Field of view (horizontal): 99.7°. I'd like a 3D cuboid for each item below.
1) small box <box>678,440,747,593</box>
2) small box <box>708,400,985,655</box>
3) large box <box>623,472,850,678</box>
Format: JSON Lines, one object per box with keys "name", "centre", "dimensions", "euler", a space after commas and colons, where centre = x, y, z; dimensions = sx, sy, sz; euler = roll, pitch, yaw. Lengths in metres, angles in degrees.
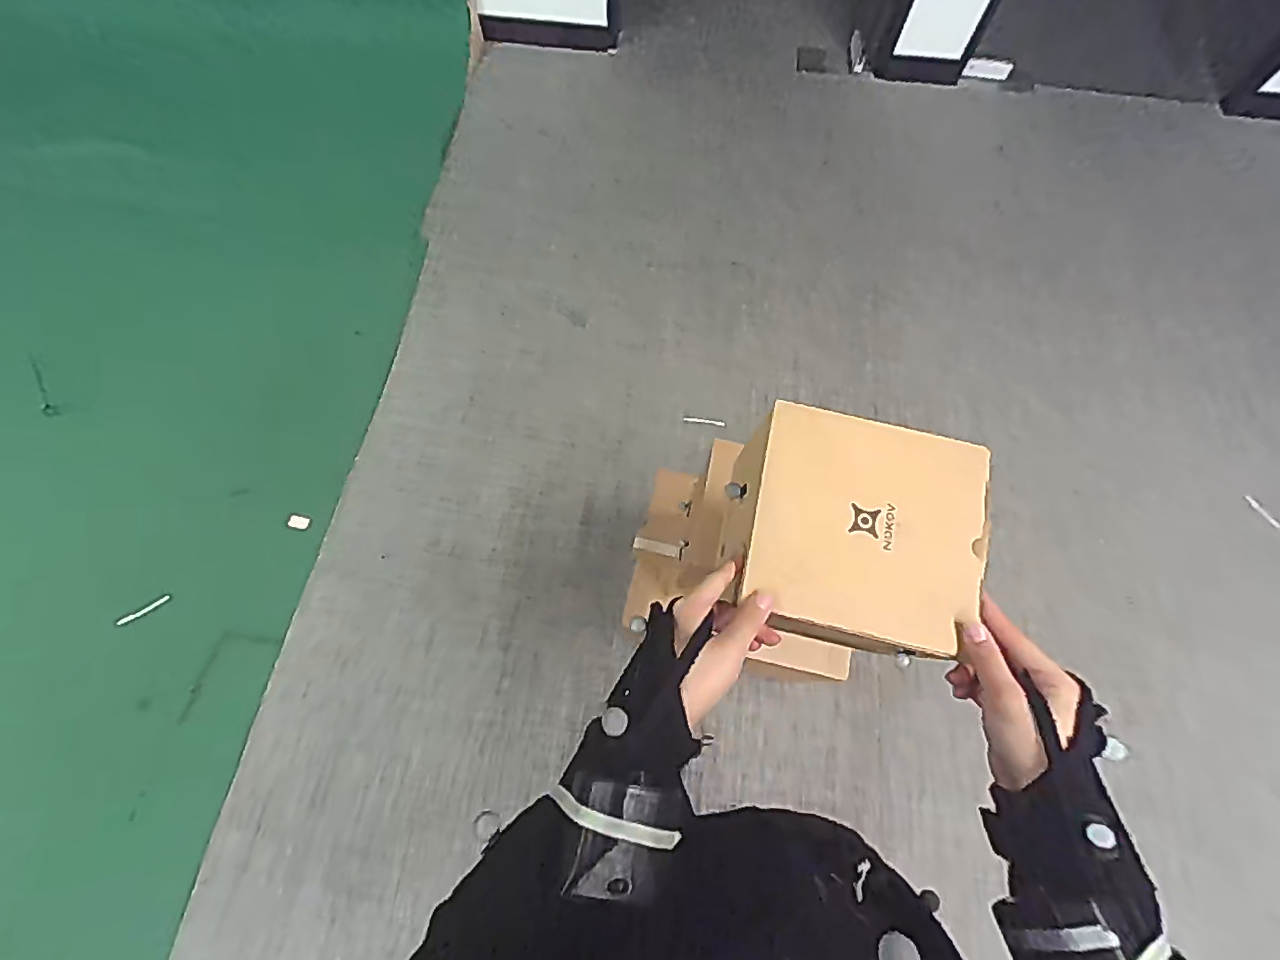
{"name": "small box", "centre": [0.152, 0.071, 0.748], "dimensions": [0.168, 0.176, 0.179], "euler": [12, 69, 2]}
{"name": "small box", "centre": [0.166, 0.052, 0.481], "dimensions": [0.179, 0.176, 0.168], "euler": [13, 74, 1]}
{"name": "large box", "centre": [0.189, 0.212, 1.131], "dimensions": [0.408, 0.320, 0.320], "euler": [13, 70, 2]}
